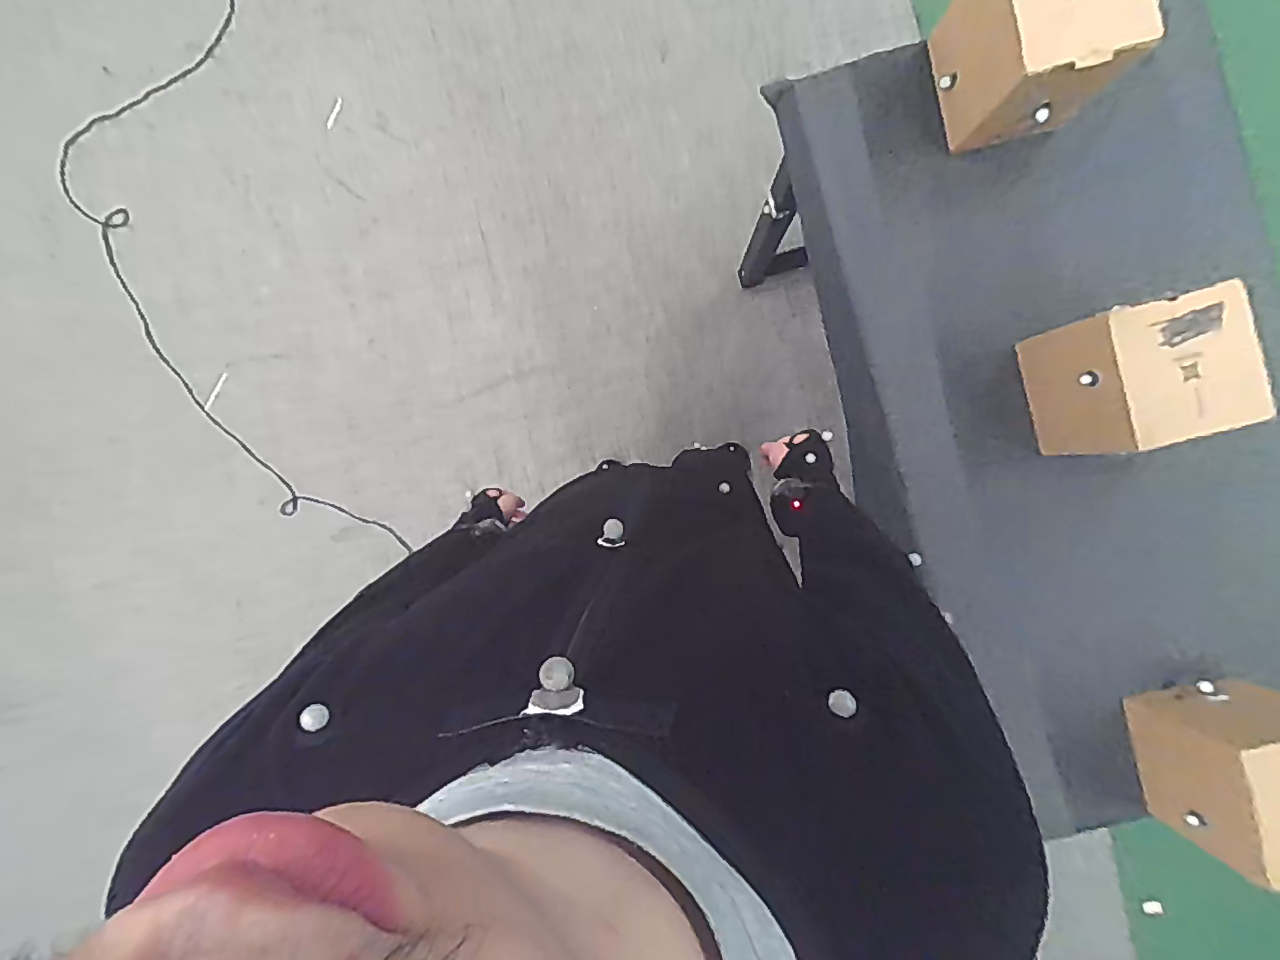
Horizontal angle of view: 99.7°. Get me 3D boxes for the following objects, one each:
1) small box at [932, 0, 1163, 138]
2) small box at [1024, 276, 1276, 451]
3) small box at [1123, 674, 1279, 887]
[{"bbox_3d":[0.521,-0.589,0.716,0.168,0.176,0.179,-13,92,2],"label":"small box"},{"bbox_3d":[0.656,-0.142,0.720,0.168,0.176,0.179,-14,92,3],"label":"small box"},{"bbox_3d":[0.811,0.387,0.726,0.168,0.176,0.179,-13,89,1],"label":"small box"}]
